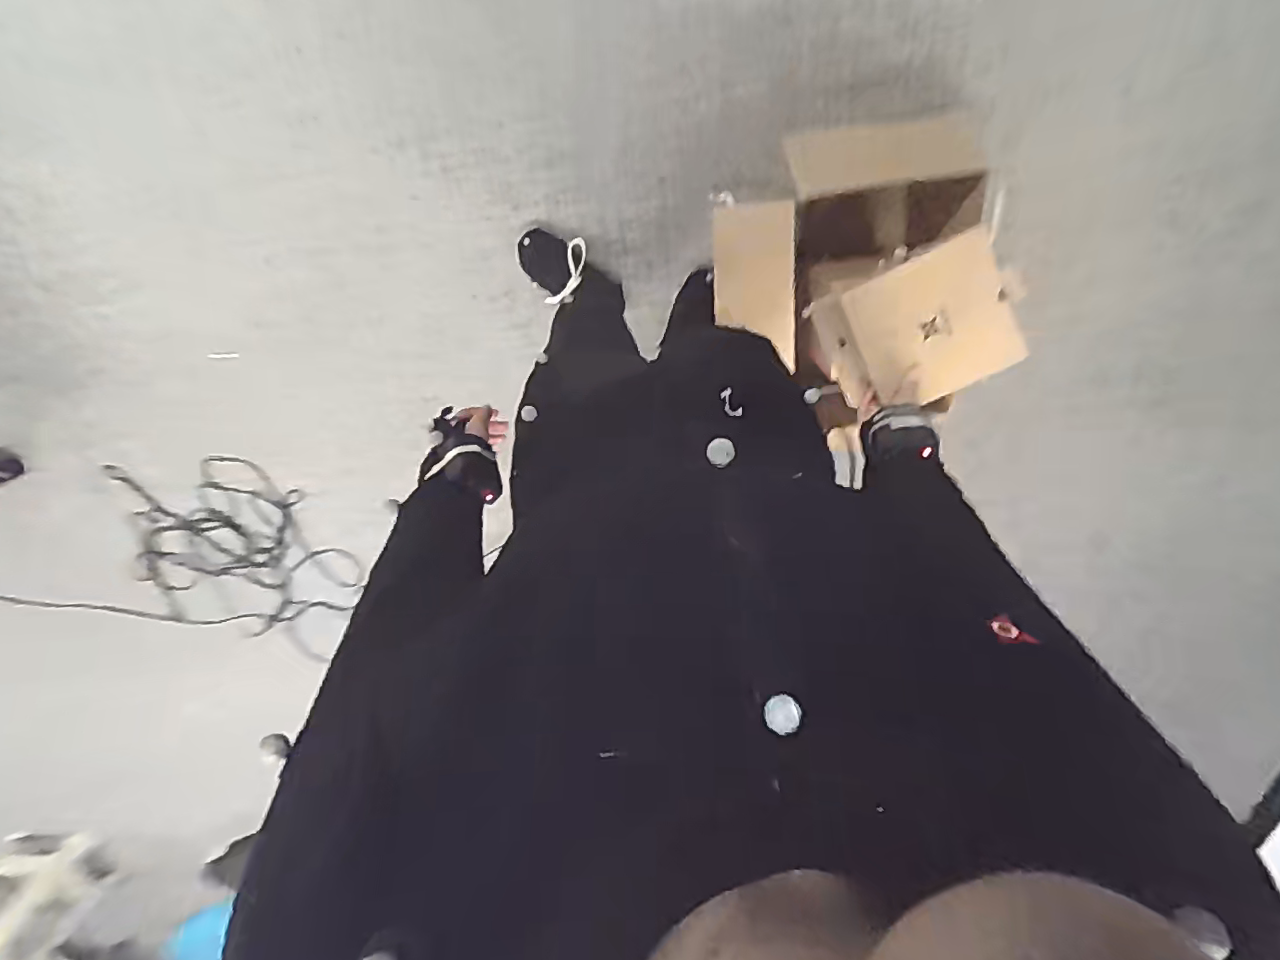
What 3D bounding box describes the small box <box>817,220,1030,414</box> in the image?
[{"bbox_3d":[0.348,-0.202,0.706,0.179,0.176,0.168,-26,101,9],"label":"small box"}]
